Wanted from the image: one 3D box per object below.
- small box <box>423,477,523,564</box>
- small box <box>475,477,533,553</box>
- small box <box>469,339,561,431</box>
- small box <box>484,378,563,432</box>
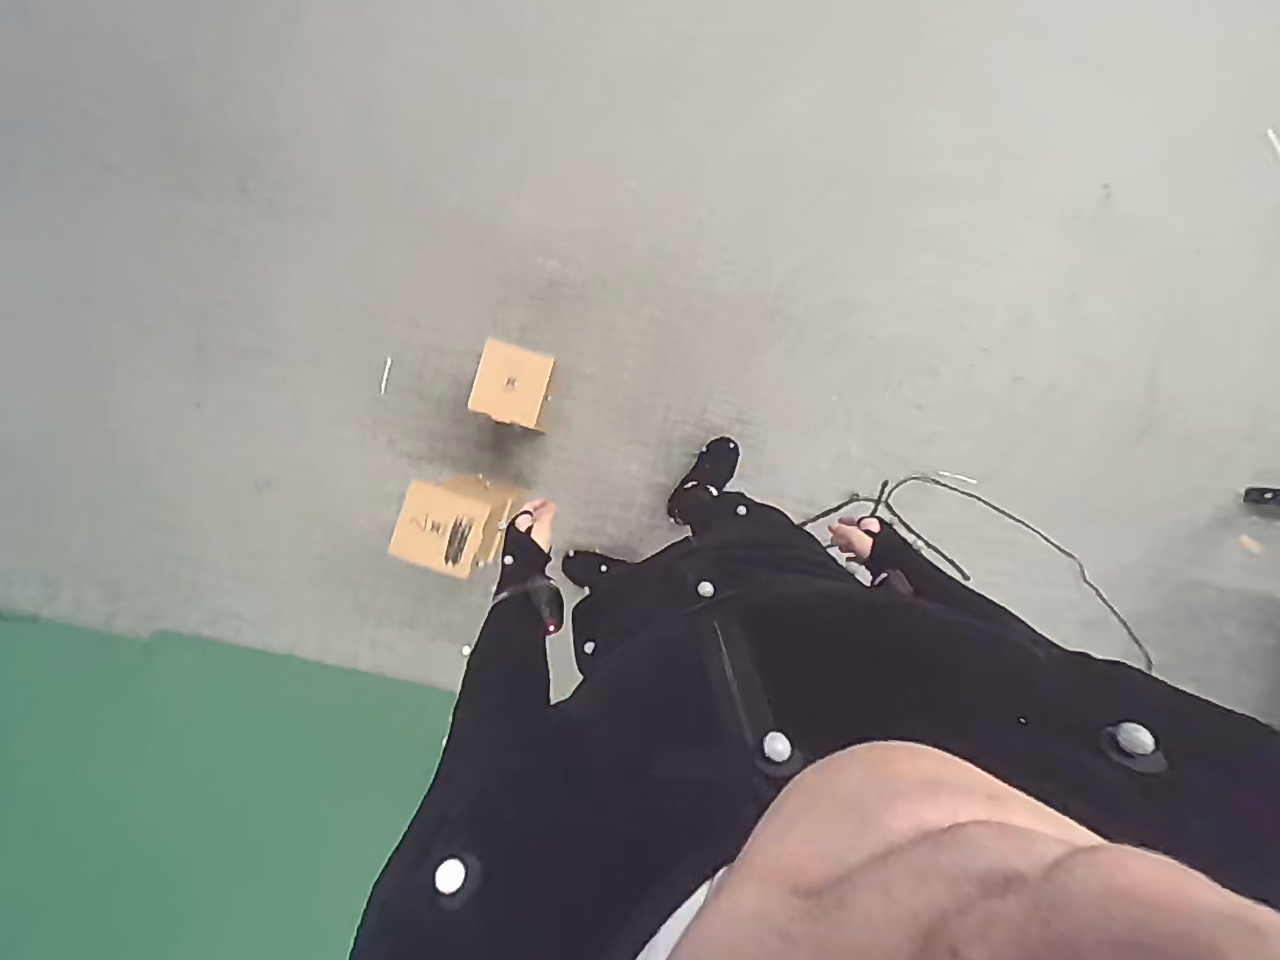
[{"bbox_3d":[-0.410,0.094,1.362,0.179,0.176,0.168,19,91,-2],"label":"small box"},{"bbox_3d":[-0.417,0.092,1.528,0.179,0.176,0.168,18,92,-2],"label":"small box"},{"bbox_3d":[-0.304,-0.228,1.353,0.168,0.176,0.179,17,91,-3],"label":"small box"},{"bbox_3d":[-0.319,-0.236,1.517,0.168,0.176,0.179,15,93,-3],"label":"small box"}]
